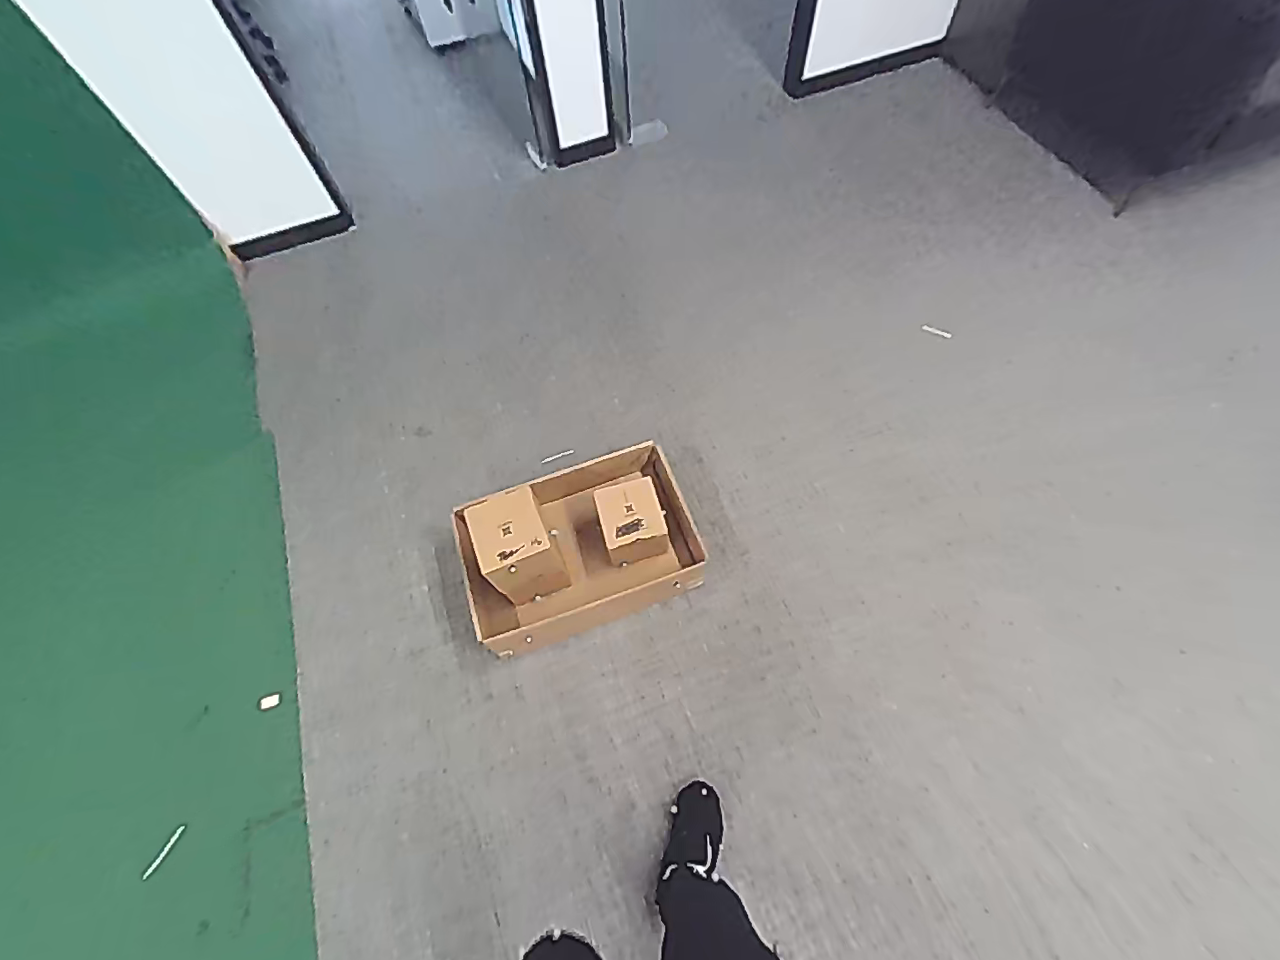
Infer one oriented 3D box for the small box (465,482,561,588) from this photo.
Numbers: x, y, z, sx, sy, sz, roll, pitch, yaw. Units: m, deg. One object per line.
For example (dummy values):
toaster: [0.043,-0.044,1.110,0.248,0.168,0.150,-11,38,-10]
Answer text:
small box: [-0.305,0.139,1.317,0.168,0.176,0.179,-21,64,-7]
